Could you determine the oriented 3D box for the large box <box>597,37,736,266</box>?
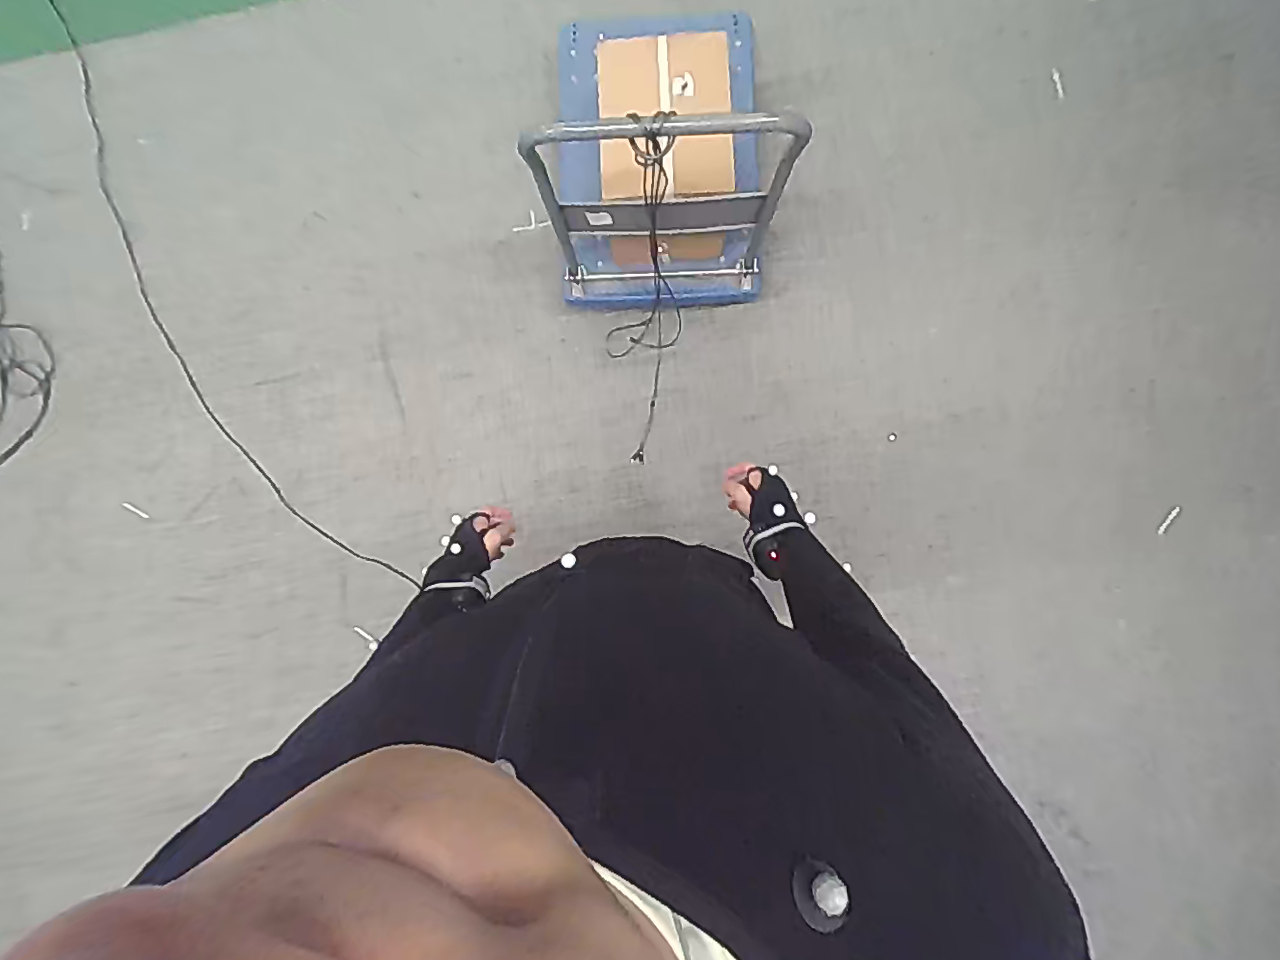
[{"bbox_3d":[0.067,-0.826,1.408,0.320,0.320,0.408,-2,84,2],"label":"large box"}]
